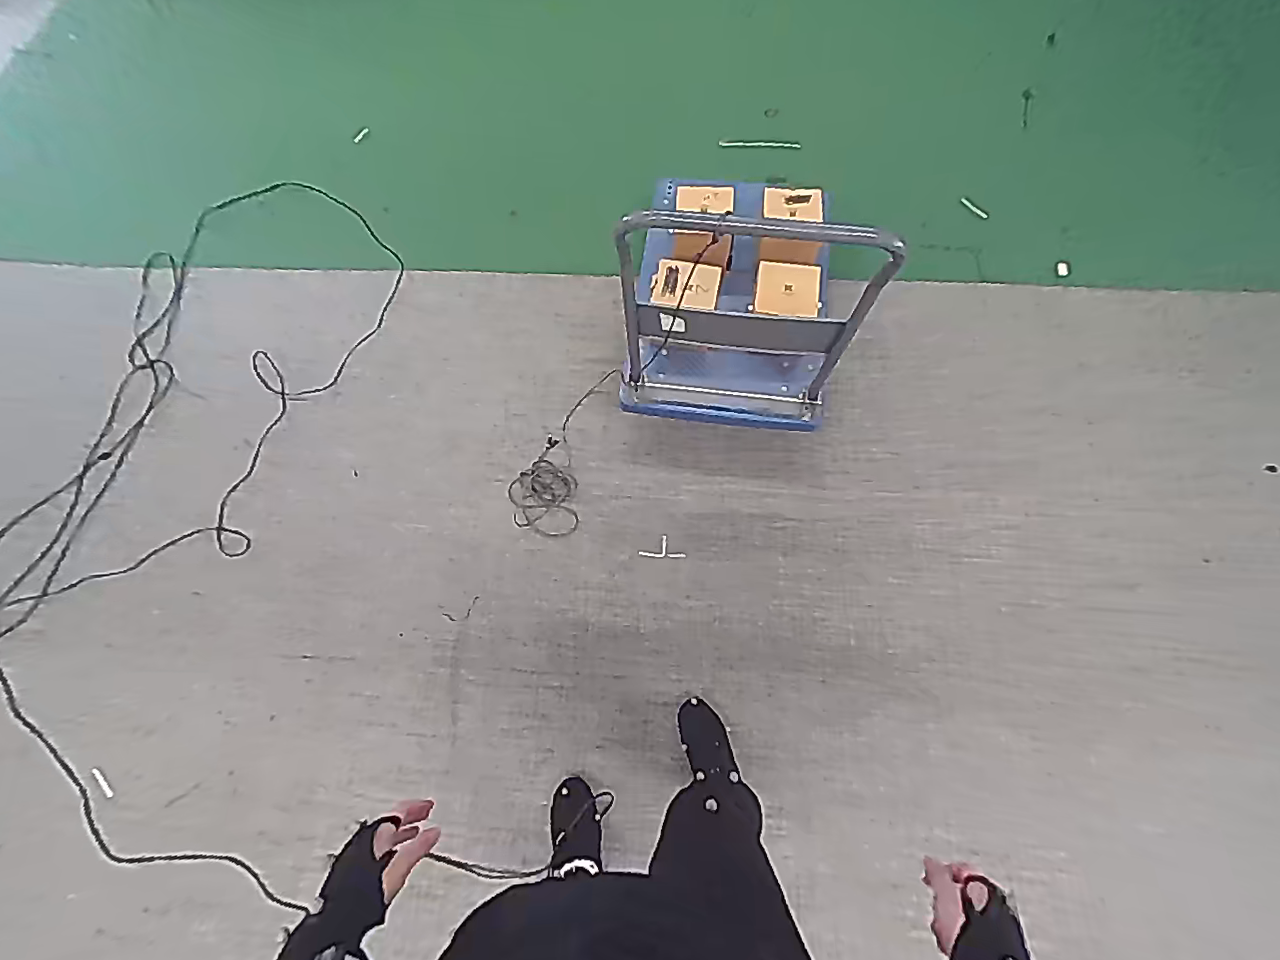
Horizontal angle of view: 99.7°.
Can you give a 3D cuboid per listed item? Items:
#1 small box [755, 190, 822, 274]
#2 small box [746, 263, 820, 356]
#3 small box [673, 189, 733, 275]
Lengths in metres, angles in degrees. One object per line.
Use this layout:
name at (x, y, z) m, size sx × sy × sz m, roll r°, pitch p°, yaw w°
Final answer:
small box at (0.437, -0.730, 1.614) m, size 0.168 × 0.176 × 0.179 m, roll 3°, pitch 71°, yaw 5°
small box at (0.399, -0.478, 1.524) m, size 0.168 × 0.176 × 0.179 m, roll 8°, pitch 71°, yaw 5°
small box at (0.187, -0.744, 1.630) m, size 0.168 × 0.176 × 0.179 m, roll 4°, pitch 70°, yaw 3°
